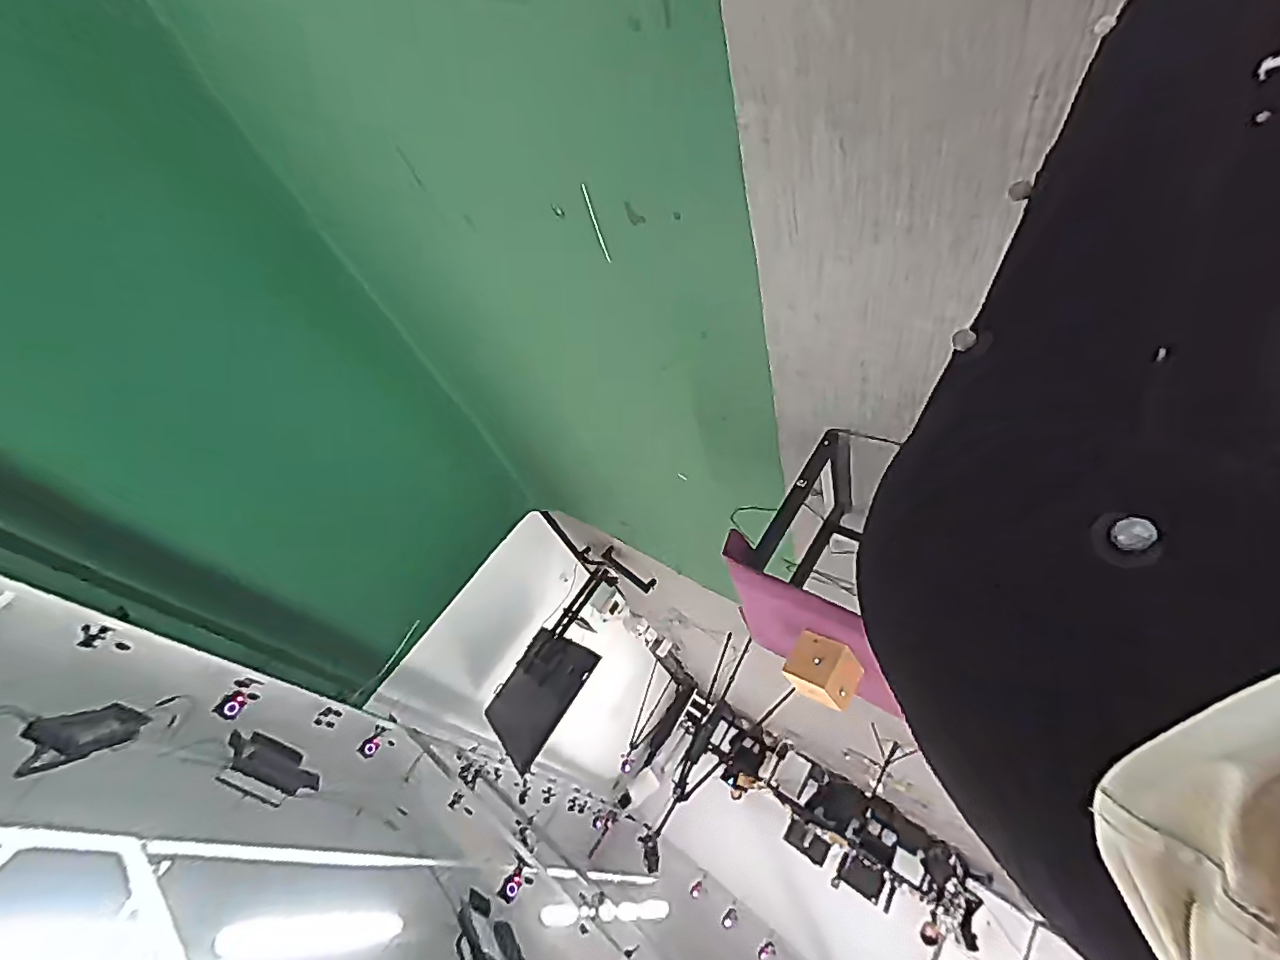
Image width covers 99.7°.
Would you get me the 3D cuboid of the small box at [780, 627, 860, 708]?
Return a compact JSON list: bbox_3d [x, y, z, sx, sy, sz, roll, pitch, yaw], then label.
[{"bbox_3d":[0.602,0.618,1.800,0.168,0.176,0.179,8,146,51],"label":"small box"}]
